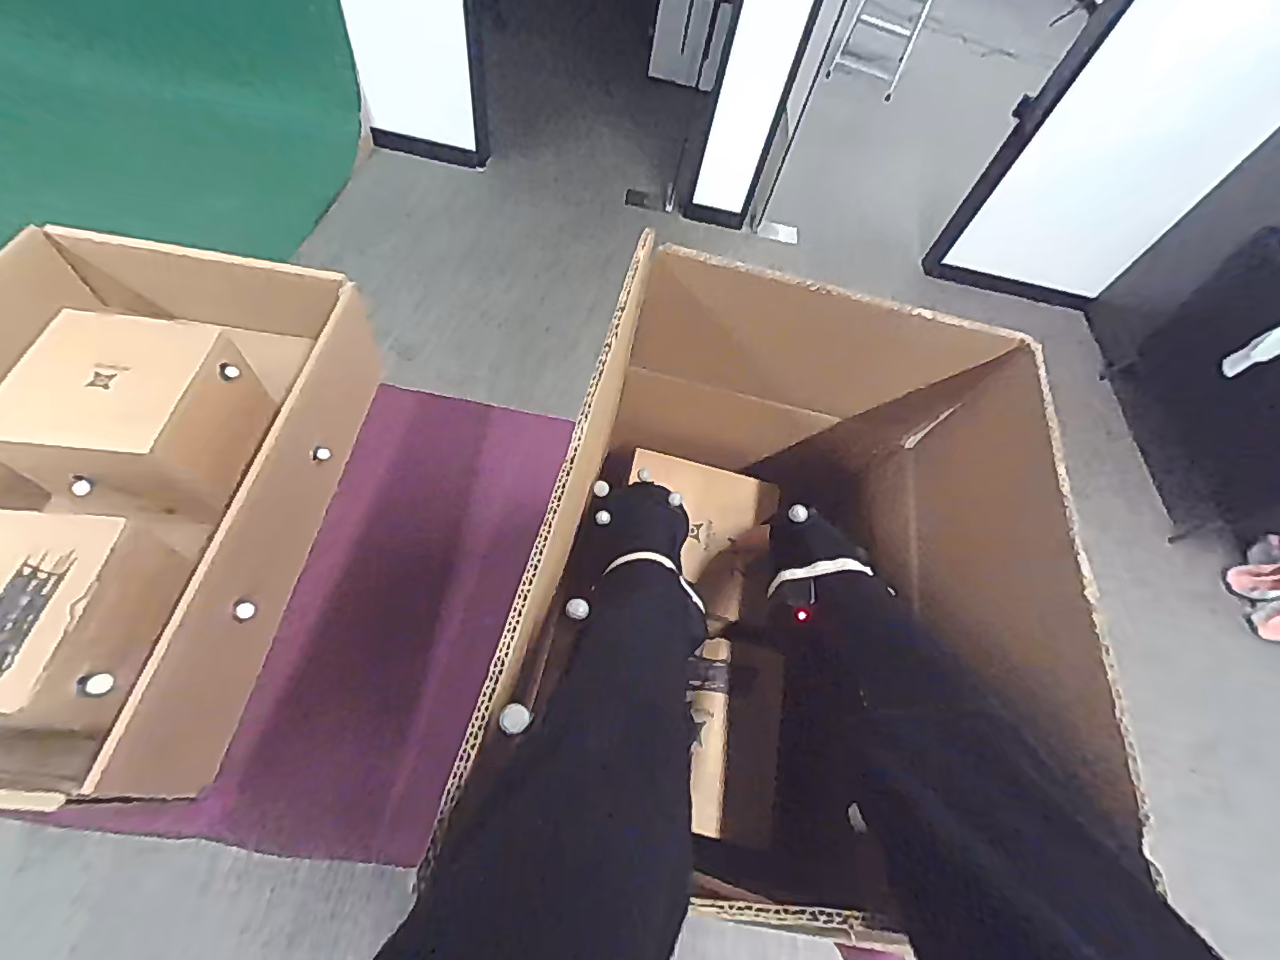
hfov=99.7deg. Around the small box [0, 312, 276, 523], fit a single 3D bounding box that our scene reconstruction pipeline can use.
[{"bbox_3d":[-0.565,-0.064,0.628,0.168,0.176,0.179,5,59,-6],"label":"small box"}]
